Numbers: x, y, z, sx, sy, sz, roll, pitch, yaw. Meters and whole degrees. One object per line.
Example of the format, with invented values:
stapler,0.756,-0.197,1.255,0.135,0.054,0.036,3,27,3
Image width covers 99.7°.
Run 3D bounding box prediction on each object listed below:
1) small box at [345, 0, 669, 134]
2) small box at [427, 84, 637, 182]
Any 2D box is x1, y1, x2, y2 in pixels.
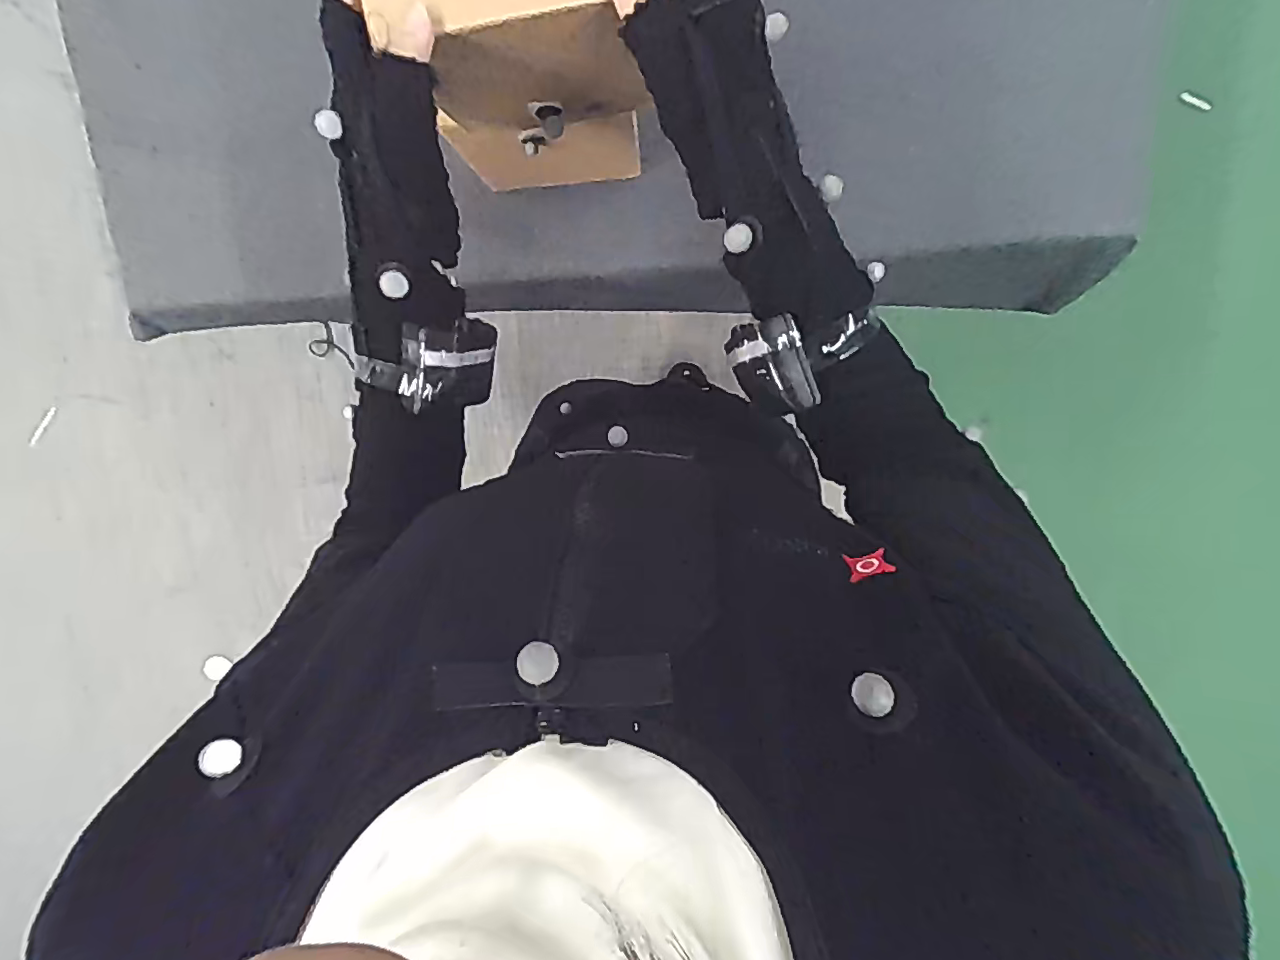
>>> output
small box,-0.074,-0.341,0.325,0.168,0.176,0.179,-6,108,5
small box,-0.099,-0.414,0.536,0.179,0.176,0.168,-3,101,3
